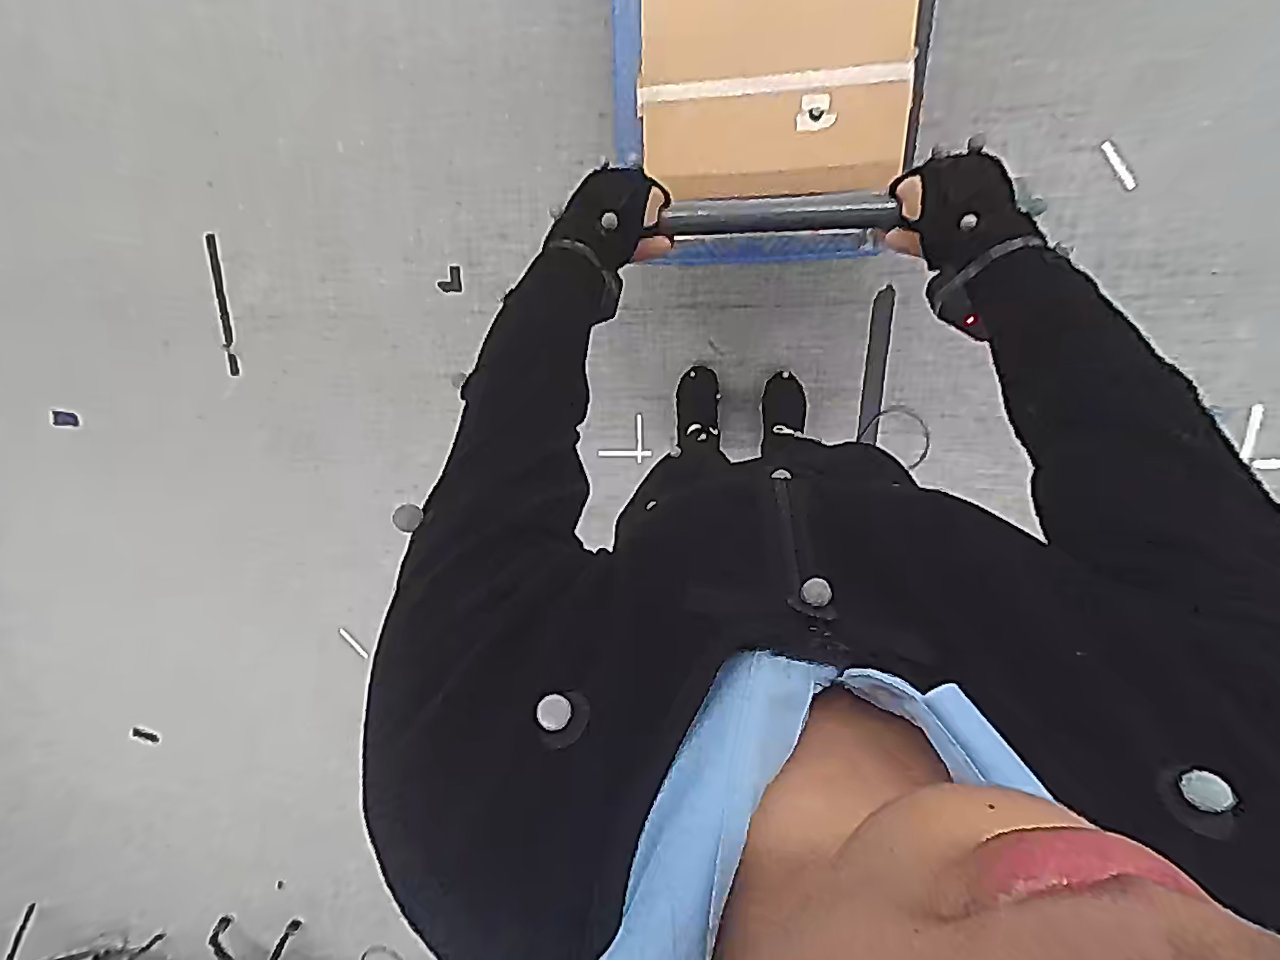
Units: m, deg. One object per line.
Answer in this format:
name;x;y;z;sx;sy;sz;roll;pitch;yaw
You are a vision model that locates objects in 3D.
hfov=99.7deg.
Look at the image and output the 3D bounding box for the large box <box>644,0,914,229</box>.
large box;0.226;-0.658;0.984;0.408;0.320;0.320;1;108;8
